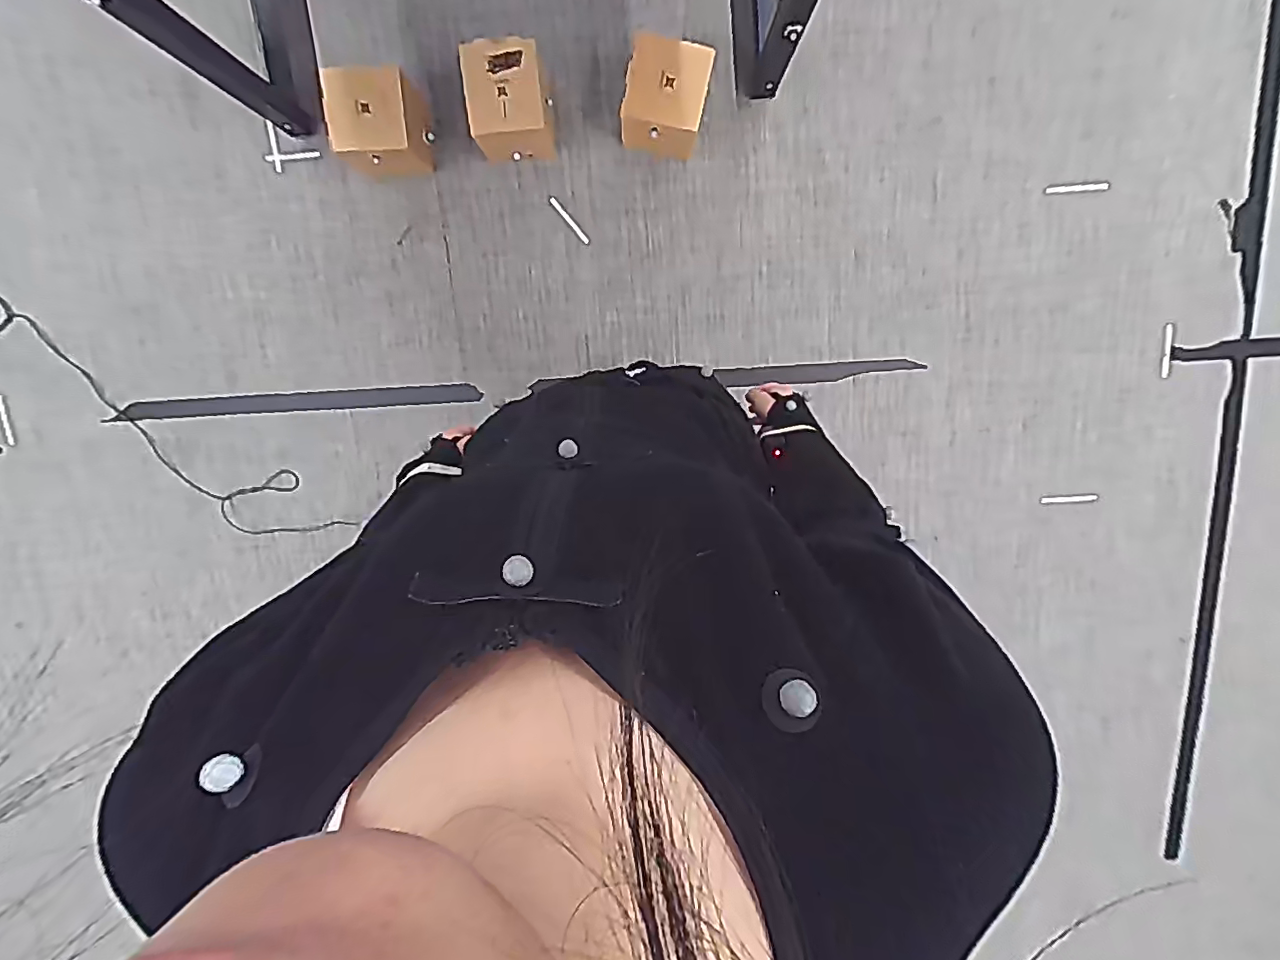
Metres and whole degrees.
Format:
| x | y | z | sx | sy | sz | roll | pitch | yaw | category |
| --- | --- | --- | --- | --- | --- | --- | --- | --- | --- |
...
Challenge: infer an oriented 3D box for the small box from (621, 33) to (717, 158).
| x | y | z | sx | sy | sz | roll | pitch | yaw | category |
| --- | --- | --- | --- | --- | --- | --- | --- | --- | --- |
| 0.063 | -0.867 | 1.241 | 0.179 | 0.176 | 0.168 | 13 | 102 | -1 | small box |

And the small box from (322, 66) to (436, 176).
| x | y | z | sx | sy | sz | roll | pitch | yaw | category |
| --- | --- | --- | --- | --- | --- | --- | --- | --- | --- |
| -0.597 | -0.822 | 1.254 | 0.179 | 0.176 | 0.168 | -2 | 102 | 0 | small box |

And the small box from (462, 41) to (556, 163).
| x | y | z | sx | sy | sz | roll | pitch | yaw | category |
| --- | --- | --- | --- | --- | --- | --- | --- | --- | --- |
| -0.294 | -0.859 | 1.243 | 0.168 | 0.176 | 0.179 | -5 | 102 | 1 | small box |
